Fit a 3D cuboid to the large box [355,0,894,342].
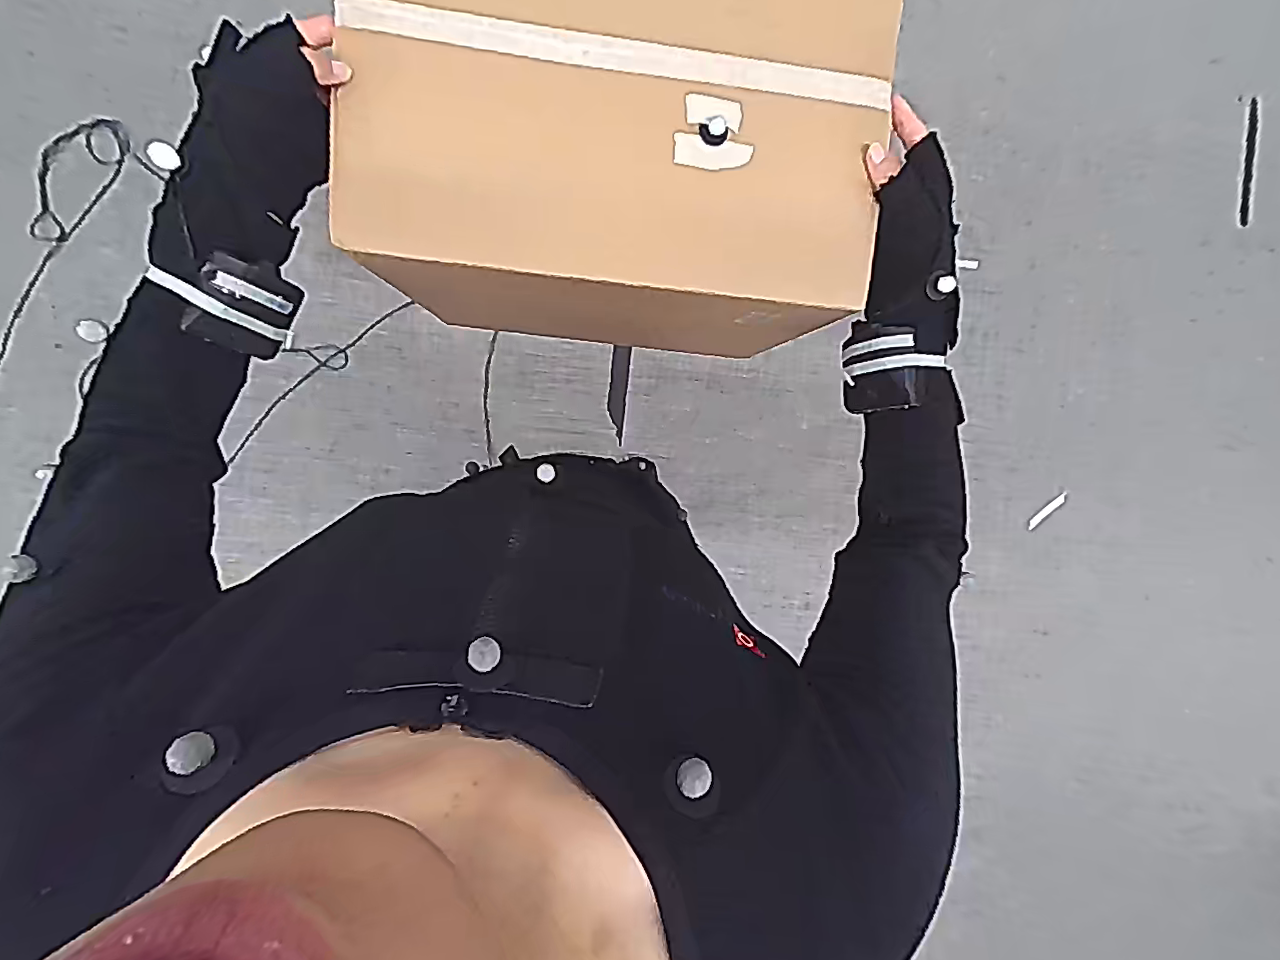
[{"bbox_3d":[-0.021,-0.331,0.552,0.408,0.320,0.320,4,96,-6],"label":"large box"}]
